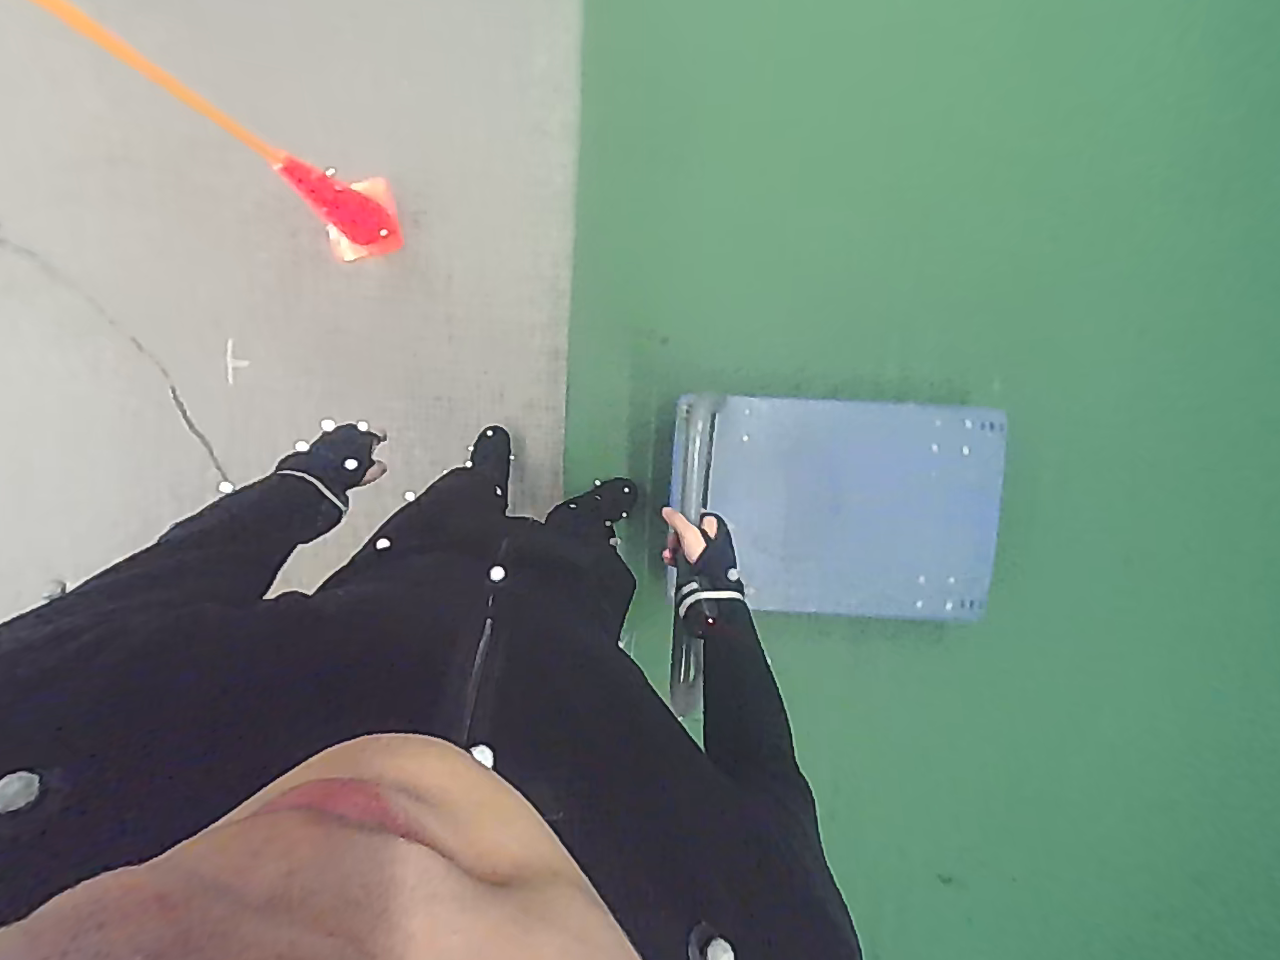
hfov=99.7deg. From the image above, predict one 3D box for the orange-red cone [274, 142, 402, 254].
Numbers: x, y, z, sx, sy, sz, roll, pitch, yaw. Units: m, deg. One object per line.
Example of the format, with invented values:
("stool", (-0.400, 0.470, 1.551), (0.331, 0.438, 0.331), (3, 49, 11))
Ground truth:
("orange-red cone", (-0.780, -0.734, 1.351), (0.198, 0.360, 0.199), (-11, 94, 1))
